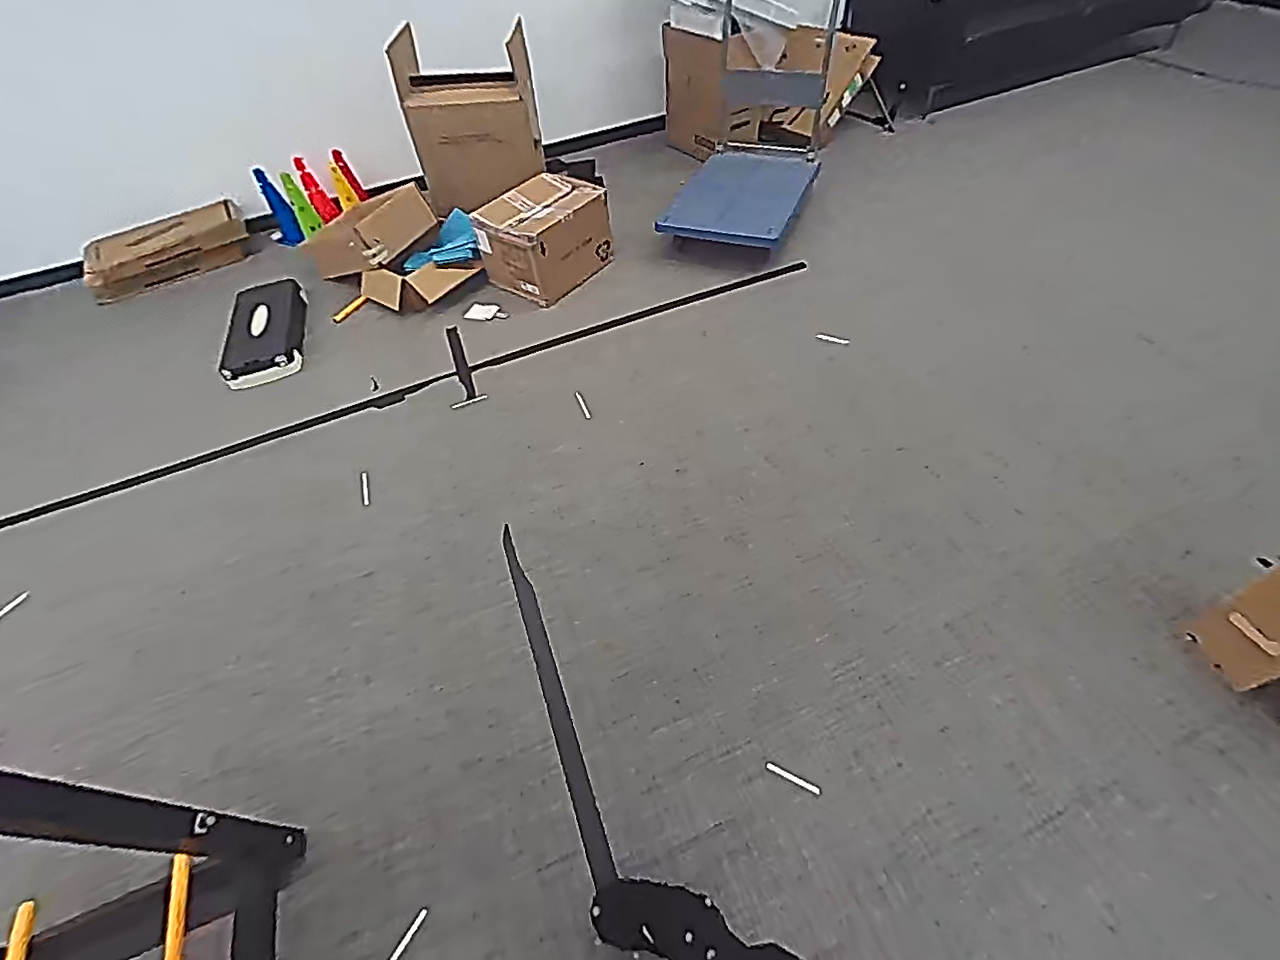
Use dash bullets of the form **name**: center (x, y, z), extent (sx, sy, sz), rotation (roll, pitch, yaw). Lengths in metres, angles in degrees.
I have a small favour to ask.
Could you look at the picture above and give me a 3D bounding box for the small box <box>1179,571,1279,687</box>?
- **small box**: center (1.396, 0.341, 1.223), extent (0.179, 0.176, 0.168), rotation (-19, 51, -10)
